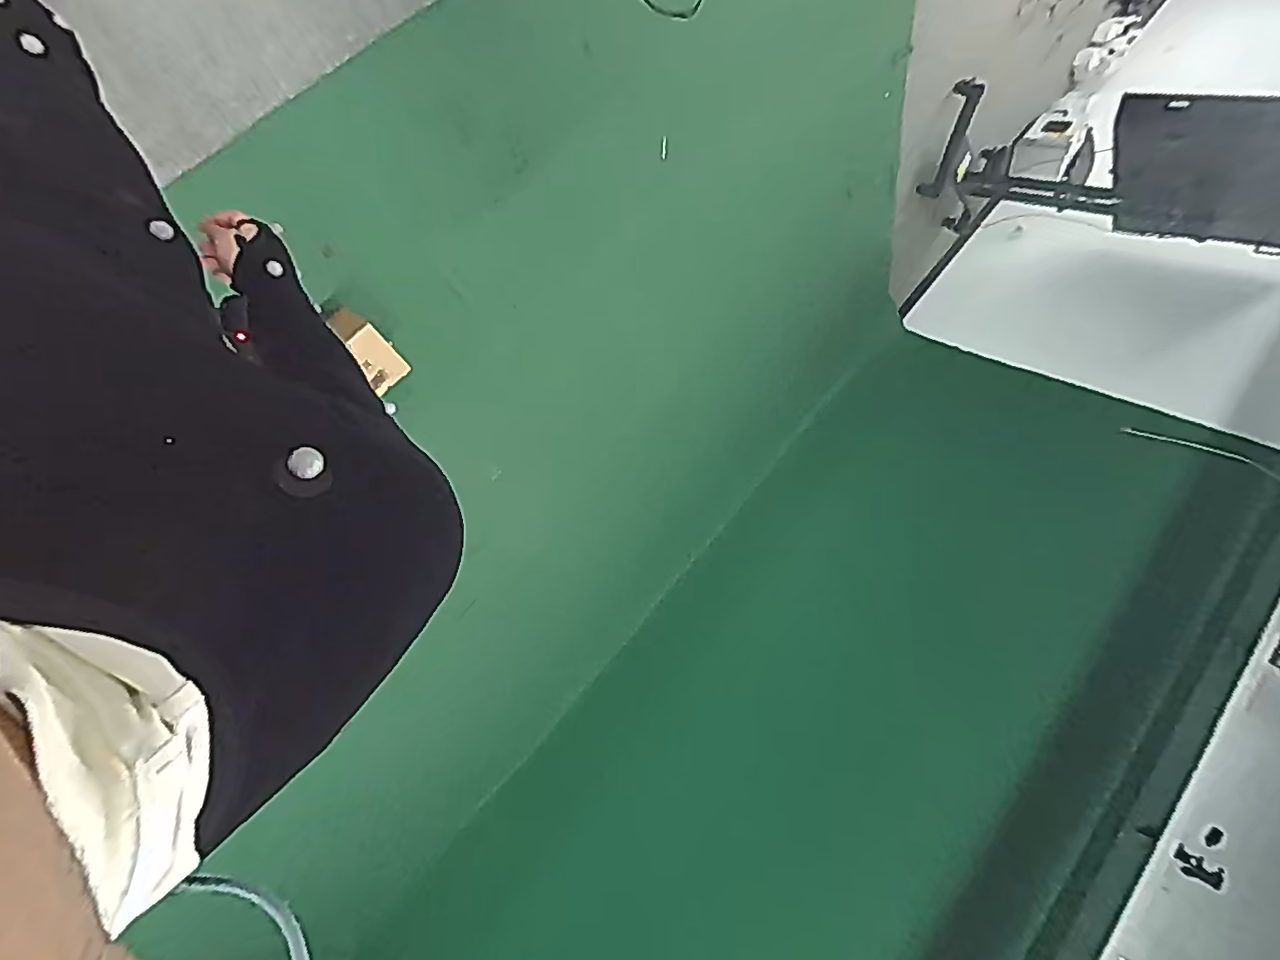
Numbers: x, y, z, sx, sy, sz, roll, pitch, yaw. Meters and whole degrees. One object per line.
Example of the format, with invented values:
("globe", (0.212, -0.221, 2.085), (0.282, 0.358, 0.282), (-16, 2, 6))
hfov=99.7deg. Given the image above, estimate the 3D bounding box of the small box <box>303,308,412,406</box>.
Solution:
("small box", (-0.777, -0.342, 1.487), (0.168, 0.176, 0.179), (-48, 144, -13))
